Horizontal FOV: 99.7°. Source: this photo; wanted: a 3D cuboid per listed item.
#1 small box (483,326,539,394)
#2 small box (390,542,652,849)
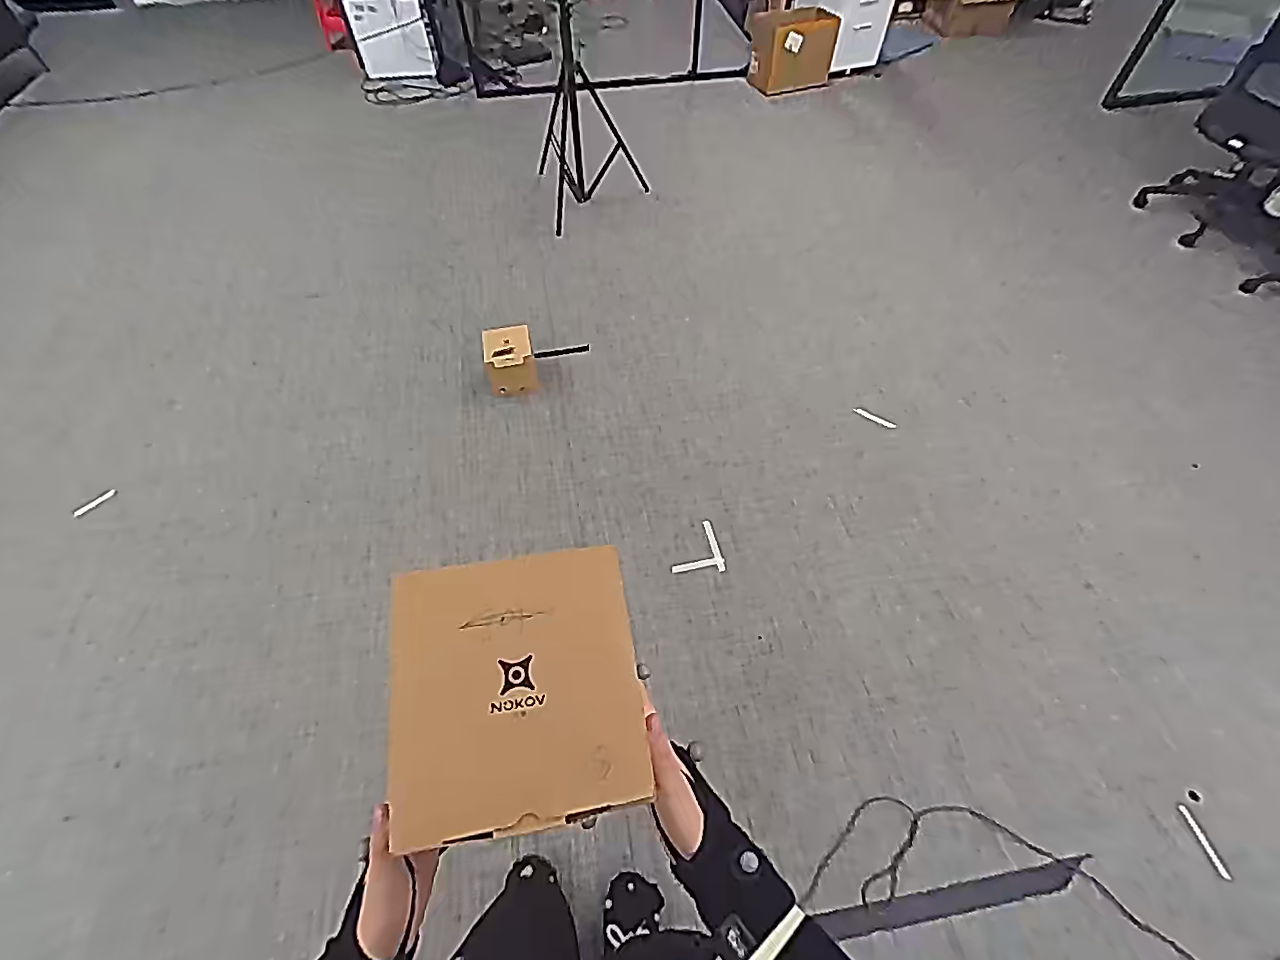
[{"bbox_3d":[-0.471,-0.433,1.982,0.168,0.176,0.179,-11,56,-7],"label":"small box"},{"bbox_3d":[-0.092,0.169,0.443,0.168,0.176,0.179,-8,64,-10],"label":"small box"}]
